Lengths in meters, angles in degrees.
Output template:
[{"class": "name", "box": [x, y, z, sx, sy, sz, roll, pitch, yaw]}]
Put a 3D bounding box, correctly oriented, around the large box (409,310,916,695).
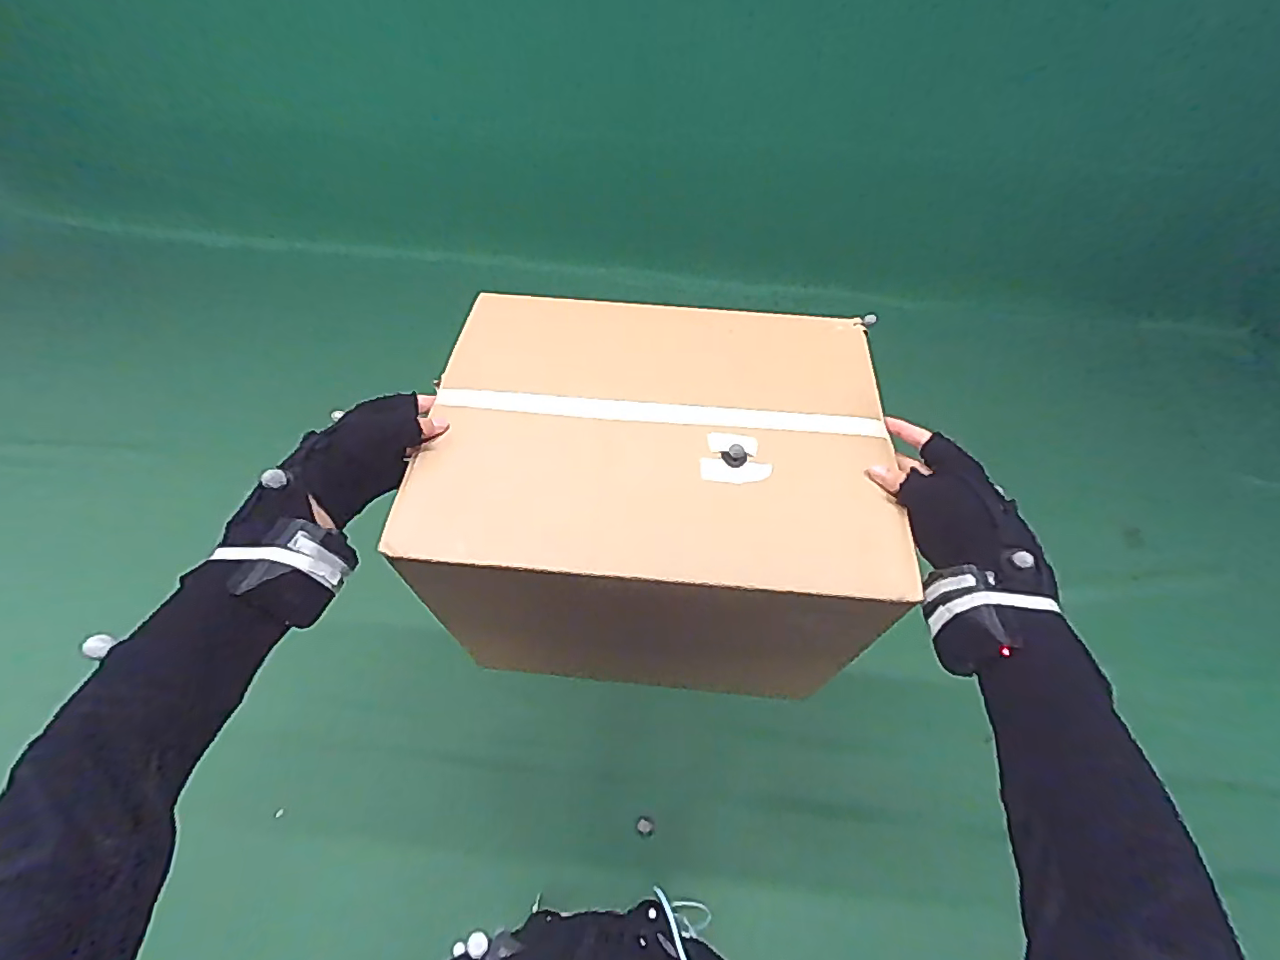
[{"class": "large box", "box": [0.021, 0.038, 0.621, 0.408, 0.320, 0.320, 5, 56, 1]}]
